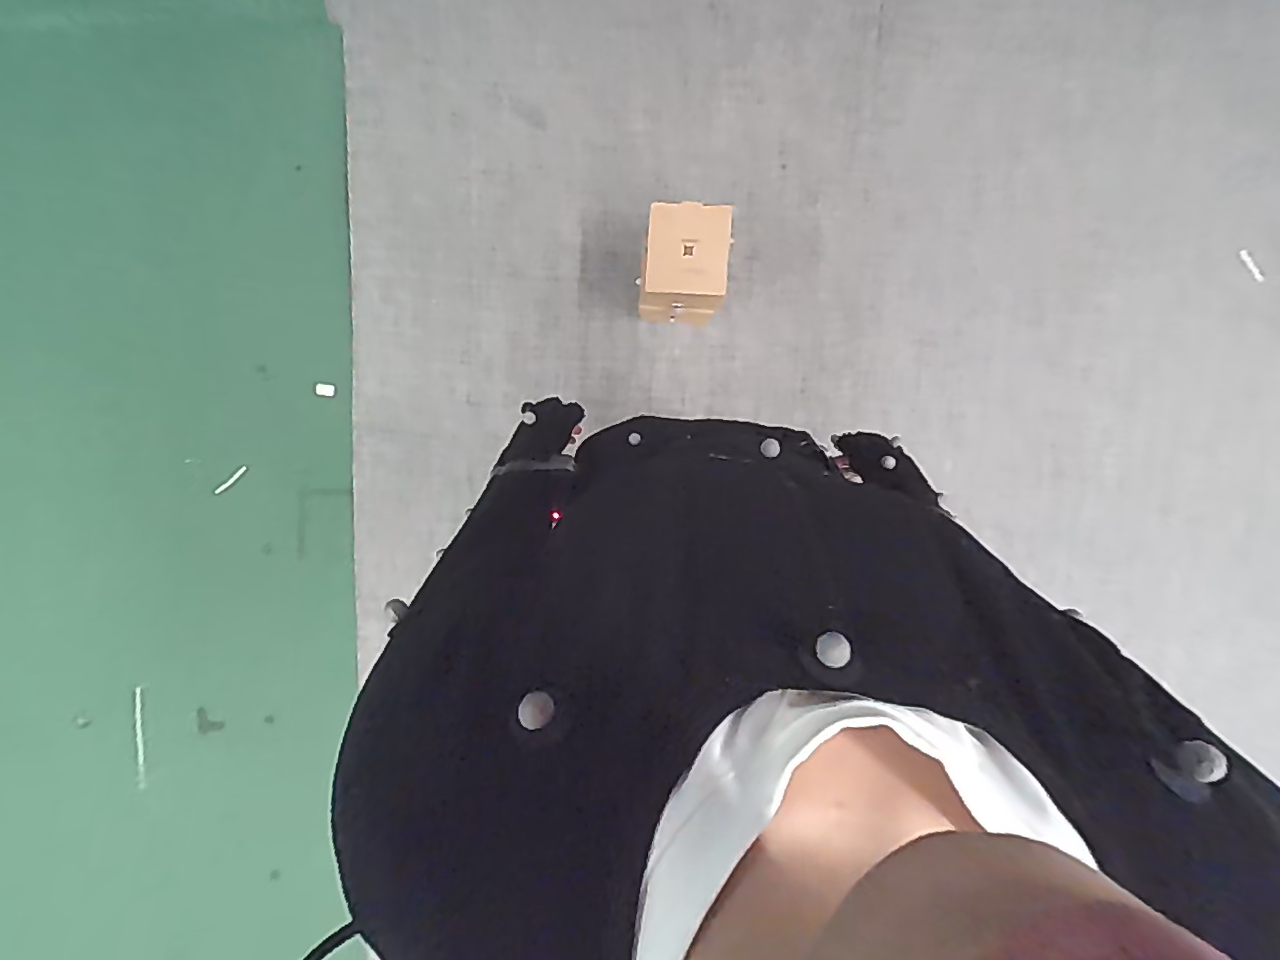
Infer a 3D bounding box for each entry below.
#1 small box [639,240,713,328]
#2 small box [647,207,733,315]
[{"bbox_3d":[0.093,-0.475,1.332,0.179,0.176,0.168,4,96,2],"label":"small box"},{"bbox_3d":[0.103,-0.467,1.171,0.168,0.176,0.179,3,97,3],"label":"small box"}]
